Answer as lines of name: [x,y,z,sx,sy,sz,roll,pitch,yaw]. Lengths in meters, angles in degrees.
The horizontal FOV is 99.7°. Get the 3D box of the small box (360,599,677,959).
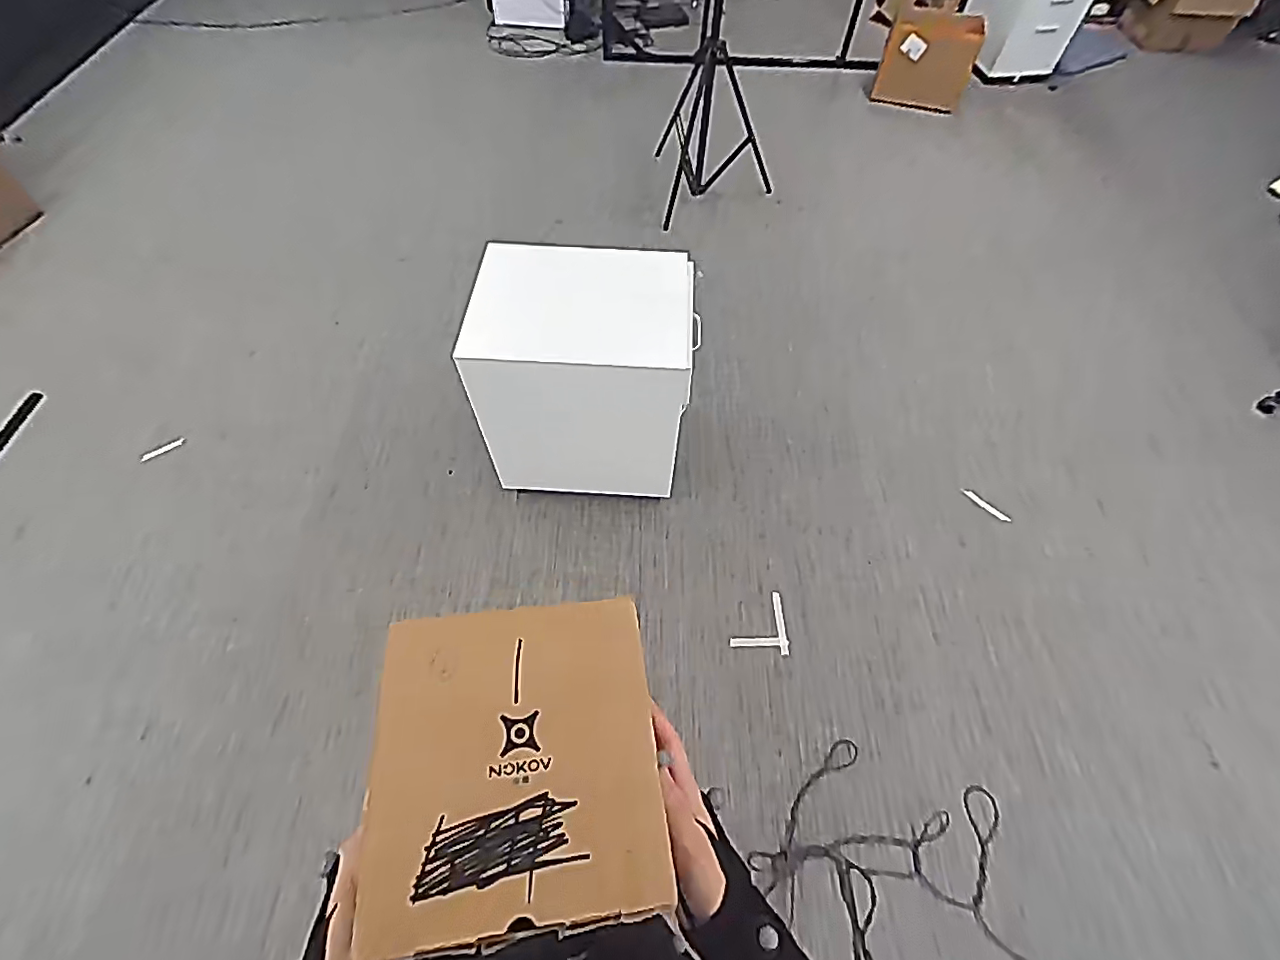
small box: [-0.076,0.205,0.387,0.168,0.176,0.179,-4,55,-9]
